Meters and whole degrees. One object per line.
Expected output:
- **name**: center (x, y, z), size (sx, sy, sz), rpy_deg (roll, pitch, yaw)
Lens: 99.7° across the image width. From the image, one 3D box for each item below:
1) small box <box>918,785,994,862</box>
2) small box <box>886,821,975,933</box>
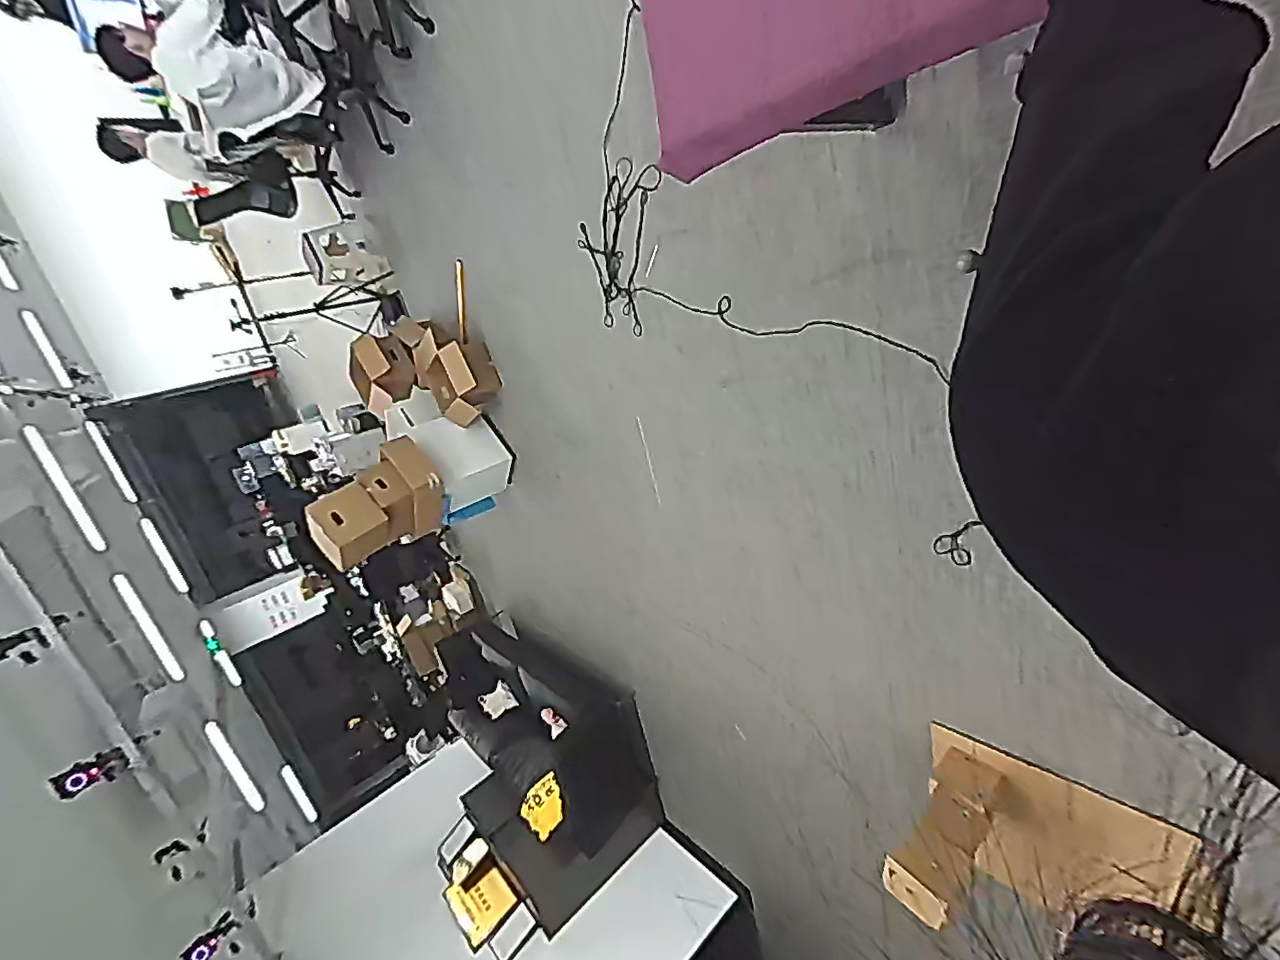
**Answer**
- **small box**: center (0.981, 1.121, 1.711), size (0.168, 0.176, 0.179), rpy_deg (32, 135, 38)
- **small box**: center (0.864, 1.172, 1.608), size (0.179, 0.176, 0.168), rpy_deg (24, 130, 43)
